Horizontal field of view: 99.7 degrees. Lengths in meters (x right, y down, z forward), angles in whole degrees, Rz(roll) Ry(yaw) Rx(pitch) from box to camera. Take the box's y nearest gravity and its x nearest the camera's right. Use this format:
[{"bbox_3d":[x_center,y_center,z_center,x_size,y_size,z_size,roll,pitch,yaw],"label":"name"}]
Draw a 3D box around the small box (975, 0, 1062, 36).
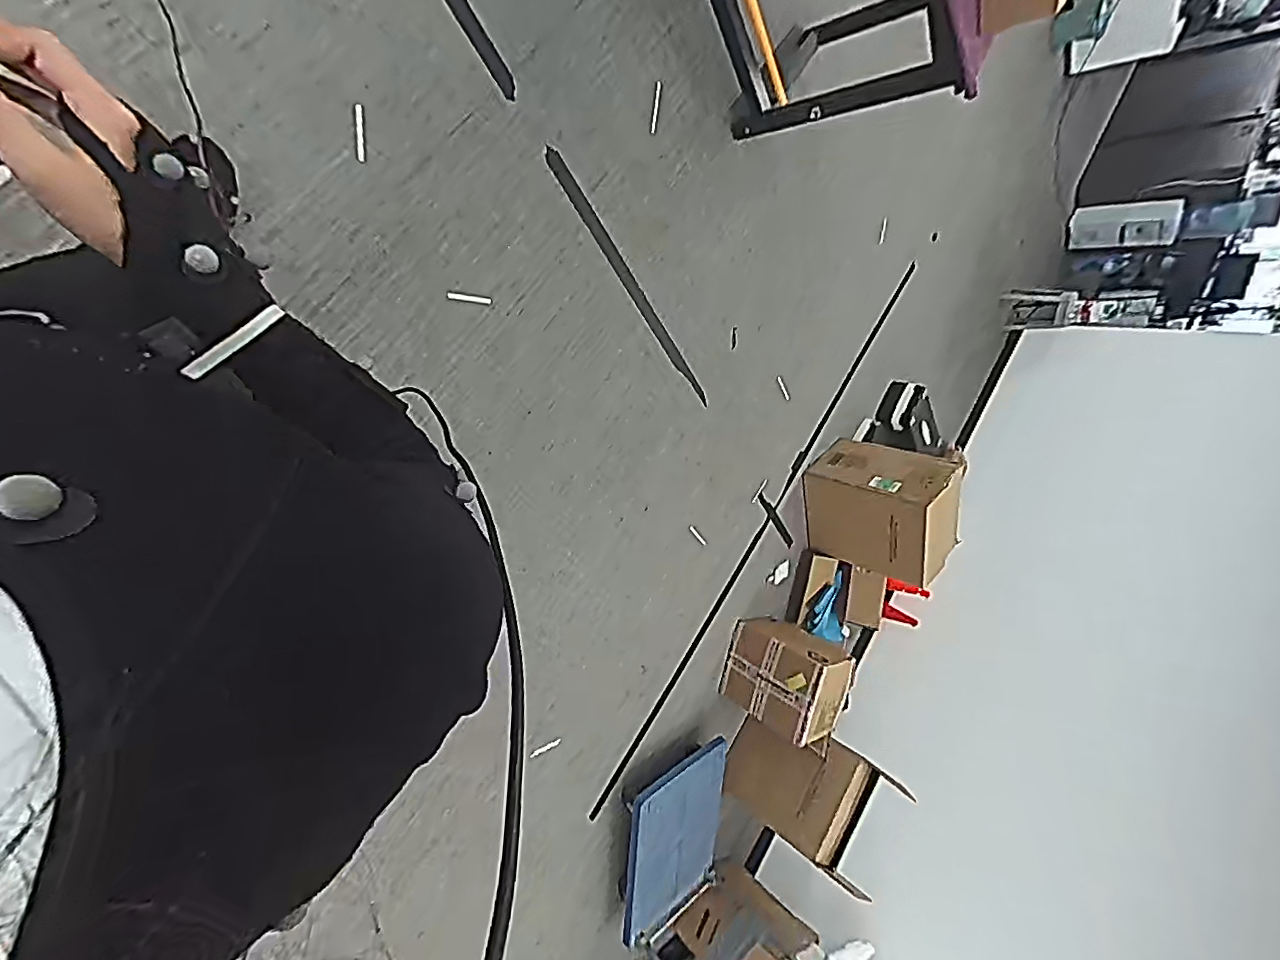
[{"bbox_3d":[0.933,-1.237,1.316,0.168,0.176,0.179,-52,134,-20],"label":"small box"}]
